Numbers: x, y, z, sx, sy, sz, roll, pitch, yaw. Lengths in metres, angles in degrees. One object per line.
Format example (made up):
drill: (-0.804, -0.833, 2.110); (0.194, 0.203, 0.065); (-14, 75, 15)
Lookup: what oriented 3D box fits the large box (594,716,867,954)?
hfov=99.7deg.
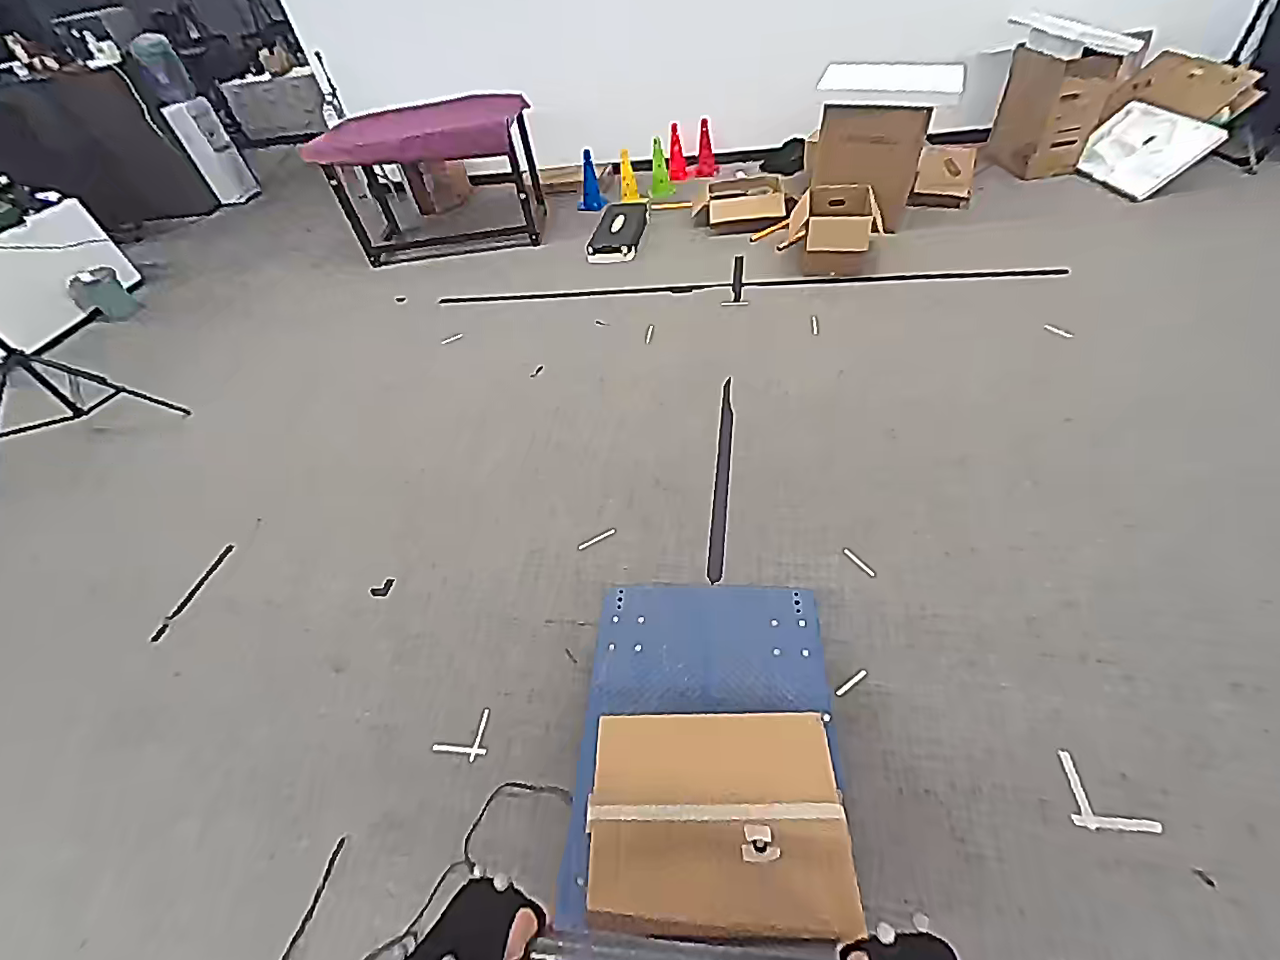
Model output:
large box: (0.140, 0.650, 0.988); (0.408, 0.320, 0.320); (-3, 47, 4)
